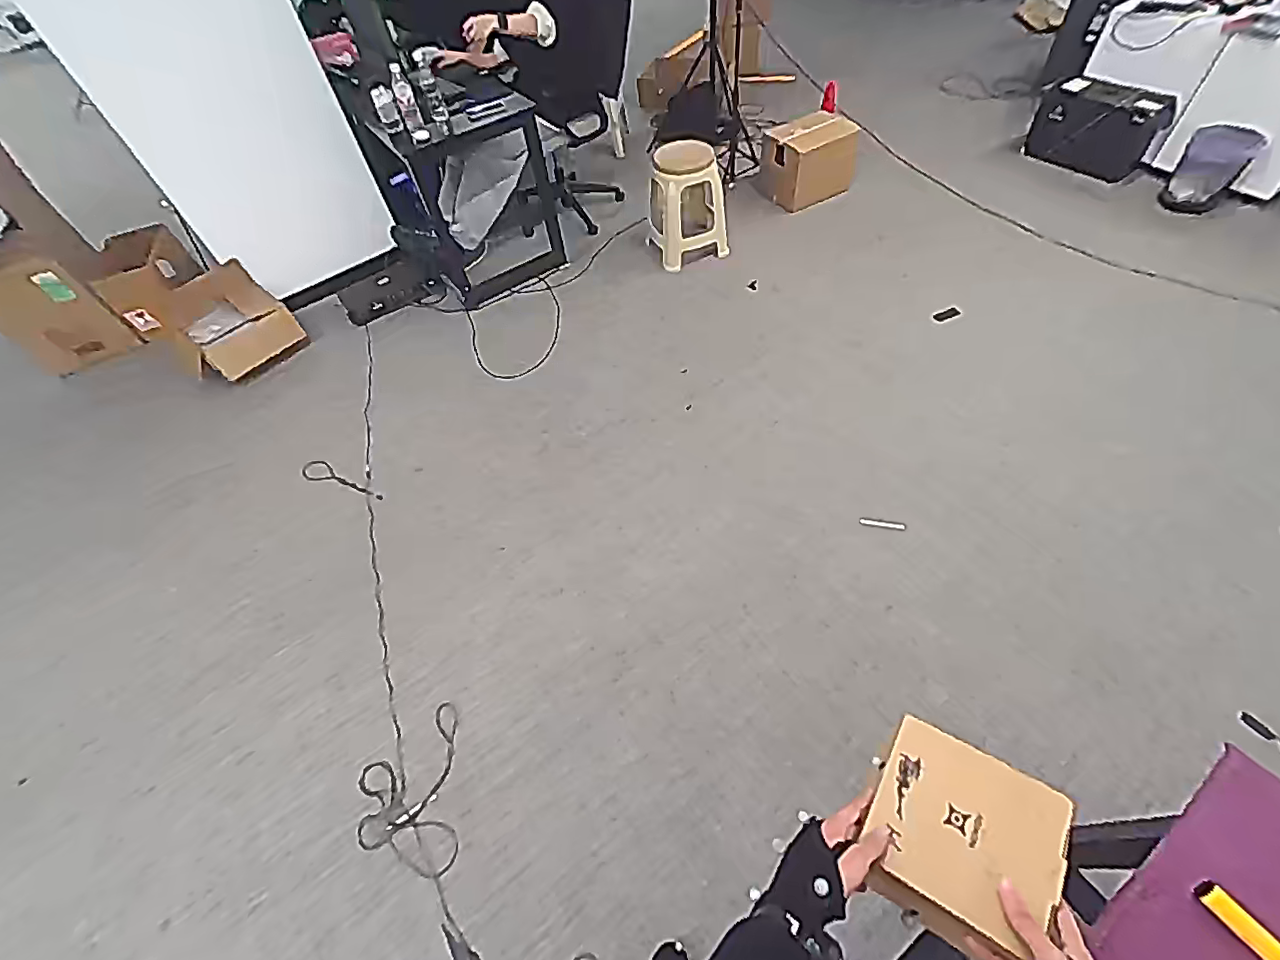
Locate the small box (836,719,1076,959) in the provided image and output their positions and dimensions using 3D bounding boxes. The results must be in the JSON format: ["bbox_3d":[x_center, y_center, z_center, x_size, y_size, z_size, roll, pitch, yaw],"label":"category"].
[{"bbox_3d":[0.352,0.417,0.629,0.179,0.176,0.168,24,59,26],"label":"small box"}]
